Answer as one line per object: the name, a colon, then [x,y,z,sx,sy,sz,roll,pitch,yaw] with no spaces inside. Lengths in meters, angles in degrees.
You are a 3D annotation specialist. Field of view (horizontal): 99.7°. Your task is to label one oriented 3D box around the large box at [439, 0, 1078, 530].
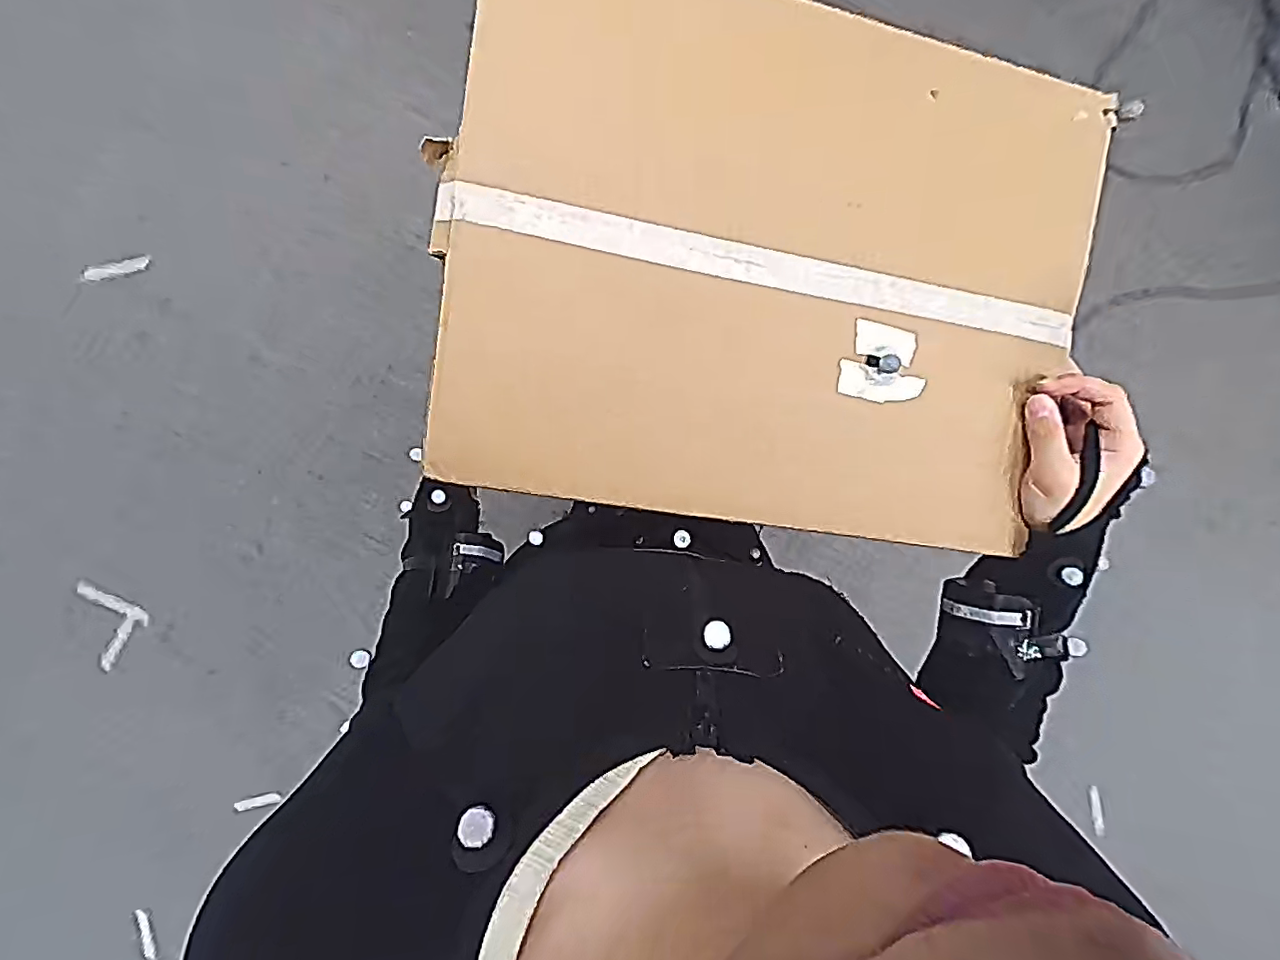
large box: [0.062,-0.147,0.488,0.408,0.320,0.320,7,95,-11]
